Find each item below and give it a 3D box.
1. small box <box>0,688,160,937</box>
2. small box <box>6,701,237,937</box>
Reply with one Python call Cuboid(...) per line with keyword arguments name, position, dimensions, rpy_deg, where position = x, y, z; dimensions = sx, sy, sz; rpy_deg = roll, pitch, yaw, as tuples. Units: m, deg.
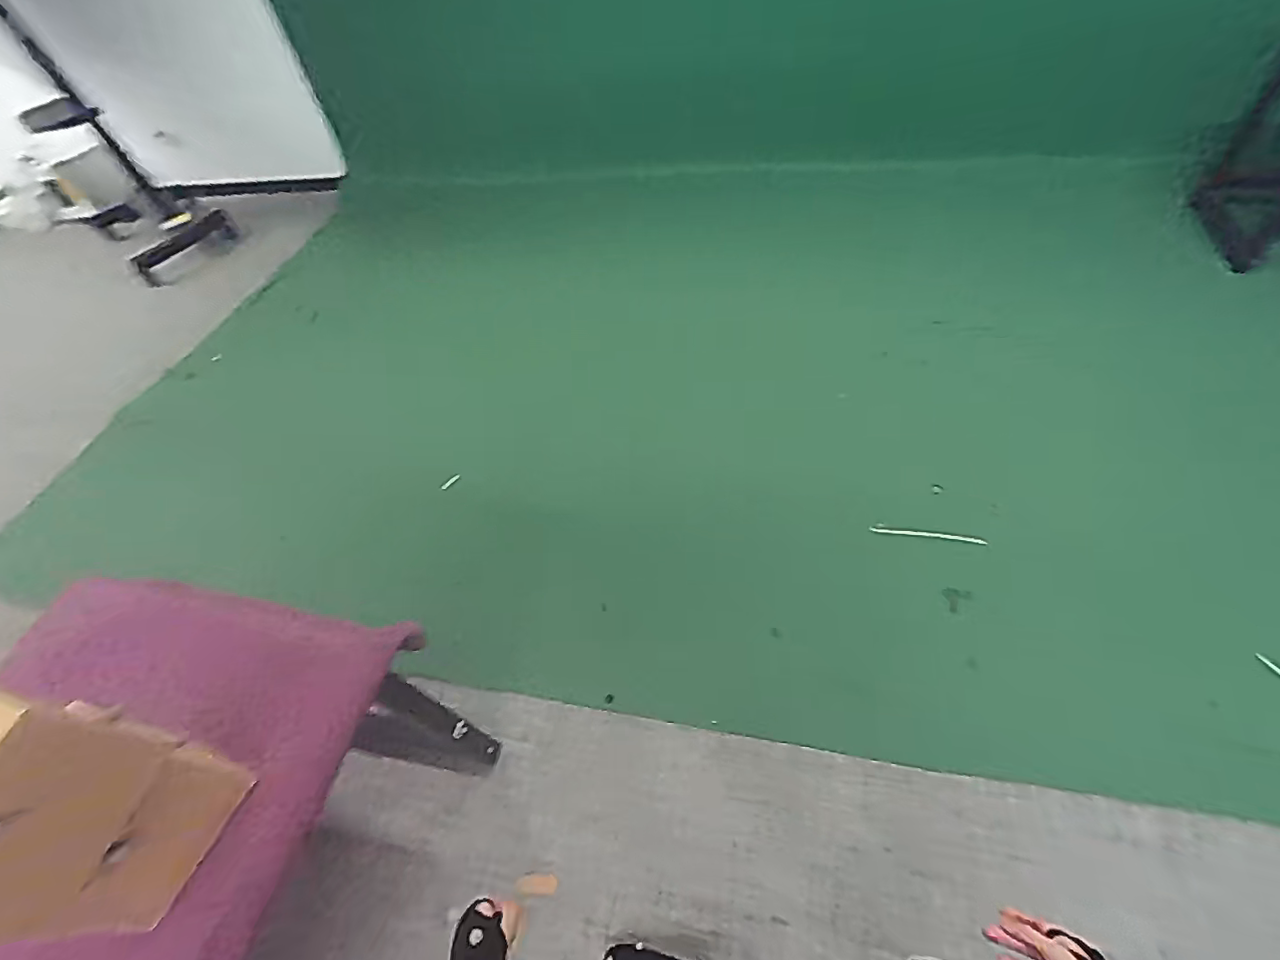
Cuboid(name="small box", position=(-0.629, 0.304, 0.509), dimensions=(0.168, 0.176, 0.179), rpy_deg=(8, 55, 15))
Cuboid(name="small box", position=(-0.637, 0.397, 0.646), dimensions=(0.168, 0.176, 0.179), rpy_deg=(13, 57, 19))
